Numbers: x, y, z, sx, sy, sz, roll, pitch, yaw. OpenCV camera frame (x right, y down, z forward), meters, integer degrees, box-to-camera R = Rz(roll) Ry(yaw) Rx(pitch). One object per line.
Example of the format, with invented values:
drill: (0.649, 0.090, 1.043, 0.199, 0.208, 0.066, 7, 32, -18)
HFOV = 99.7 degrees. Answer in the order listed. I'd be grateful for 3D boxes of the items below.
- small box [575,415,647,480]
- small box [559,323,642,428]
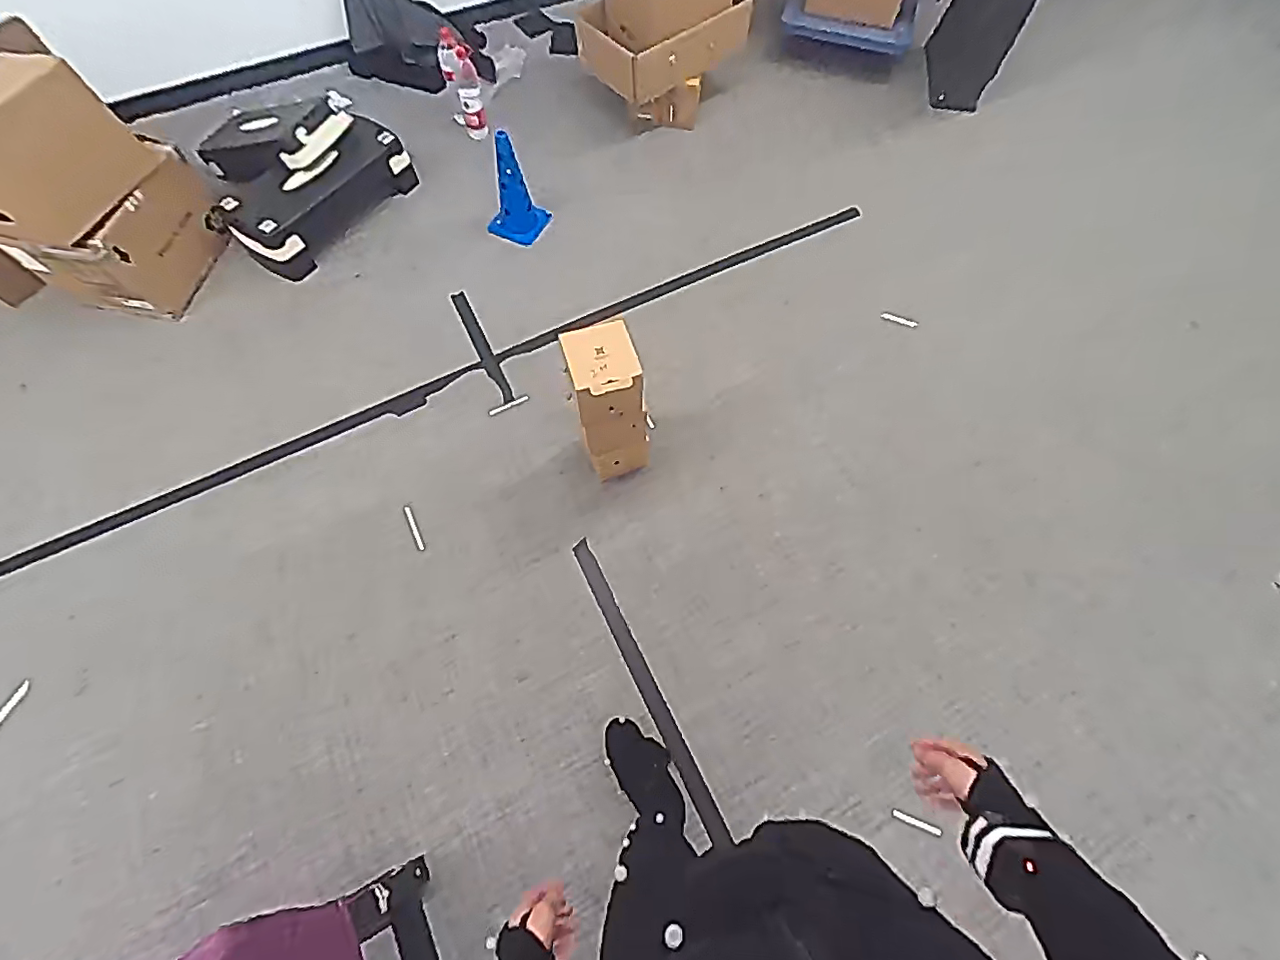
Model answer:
small box: (-0.087, -0.118, 1.661, 0.168, 0.176, 0.179, -22, 68, -11)
small box: (-0.099, -0.259, 1.362, 0.168, 0.176, 0.179, -16, 67, -8)
